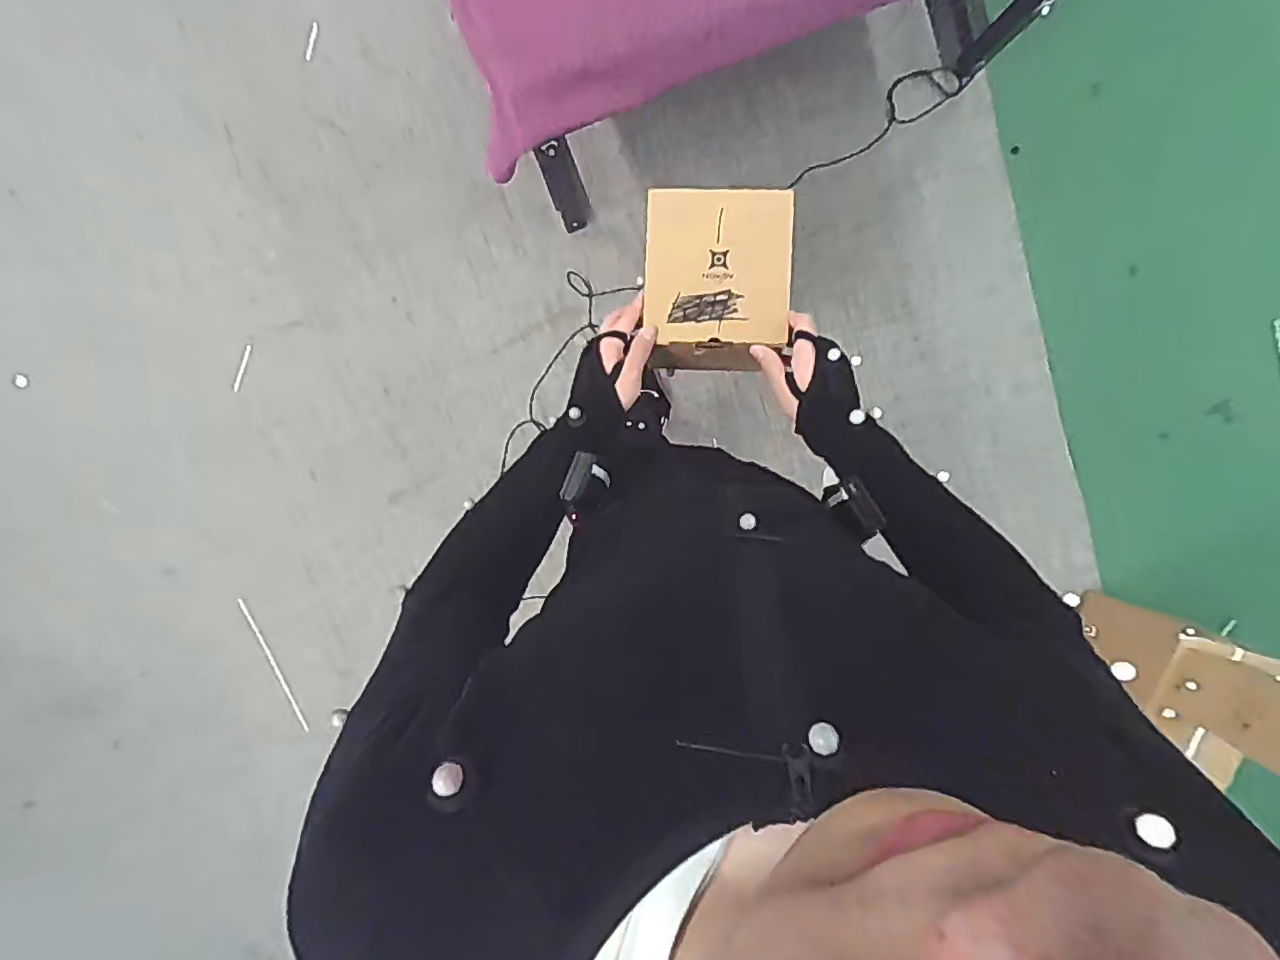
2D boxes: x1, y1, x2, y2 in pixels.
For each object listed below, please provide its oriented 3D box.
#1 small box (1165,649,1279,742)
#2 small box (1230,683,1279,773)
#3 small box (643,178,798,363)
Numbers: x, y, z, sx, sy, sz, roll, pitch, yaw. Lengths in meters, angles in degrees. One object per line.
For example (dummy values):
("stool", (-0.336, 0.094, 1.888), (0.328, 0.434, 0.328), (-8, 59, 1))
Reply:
("small box", (1.462, 0.536, 1.314), (0.179, 0.176, 0.168), (16, 98, -2))
("small box", (1.452, 0.560, 1.152), (0.179, 0.176, 0.168), (15, 99, -3))
("small box", (0.094, -0.249, 0.681), (0.168, 0.176, 0.179), (2, 91, 3))
